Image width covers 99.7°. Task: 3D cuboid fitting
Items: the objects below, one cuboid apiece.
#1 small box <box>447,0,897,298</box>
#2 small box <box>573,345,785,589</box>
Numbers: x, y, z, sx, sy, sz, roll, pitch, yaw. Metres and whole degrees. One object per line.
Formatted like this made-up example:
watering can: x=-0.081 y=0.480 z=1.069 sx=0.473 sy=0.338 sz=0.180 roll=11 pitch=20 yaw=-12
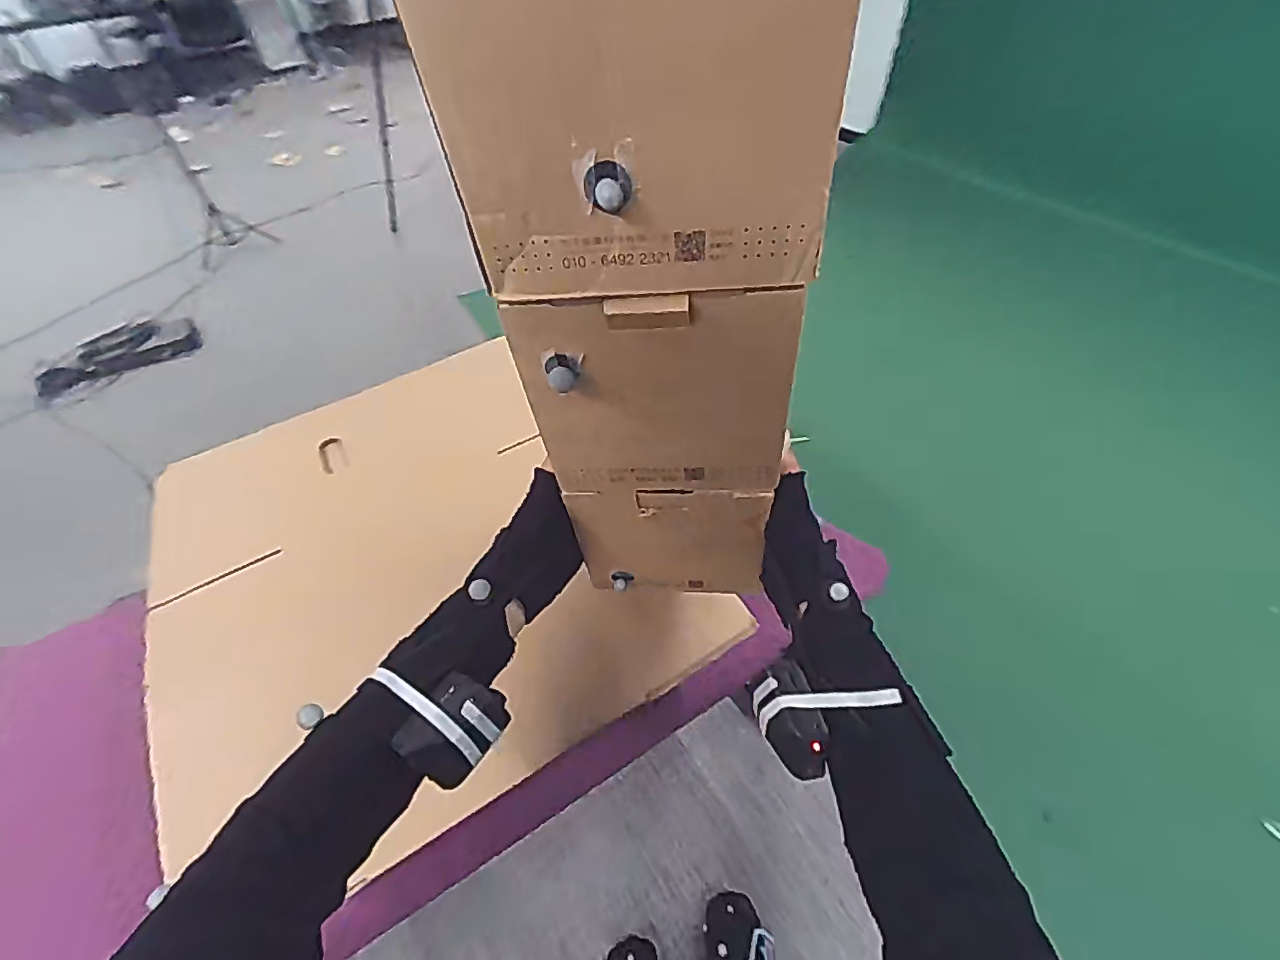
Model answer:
small box: x=0.014 y=-0.211 z=0.267 sx=0.168 sy=0.176 sz=0.179 roll=-1 pitch=52 yaw=5
small box: x=0.041 y=-0.004 z=0.520 sx=0.168 sy=0.176 sz=0.179 roll=-2 pitch=54 yaw=6
